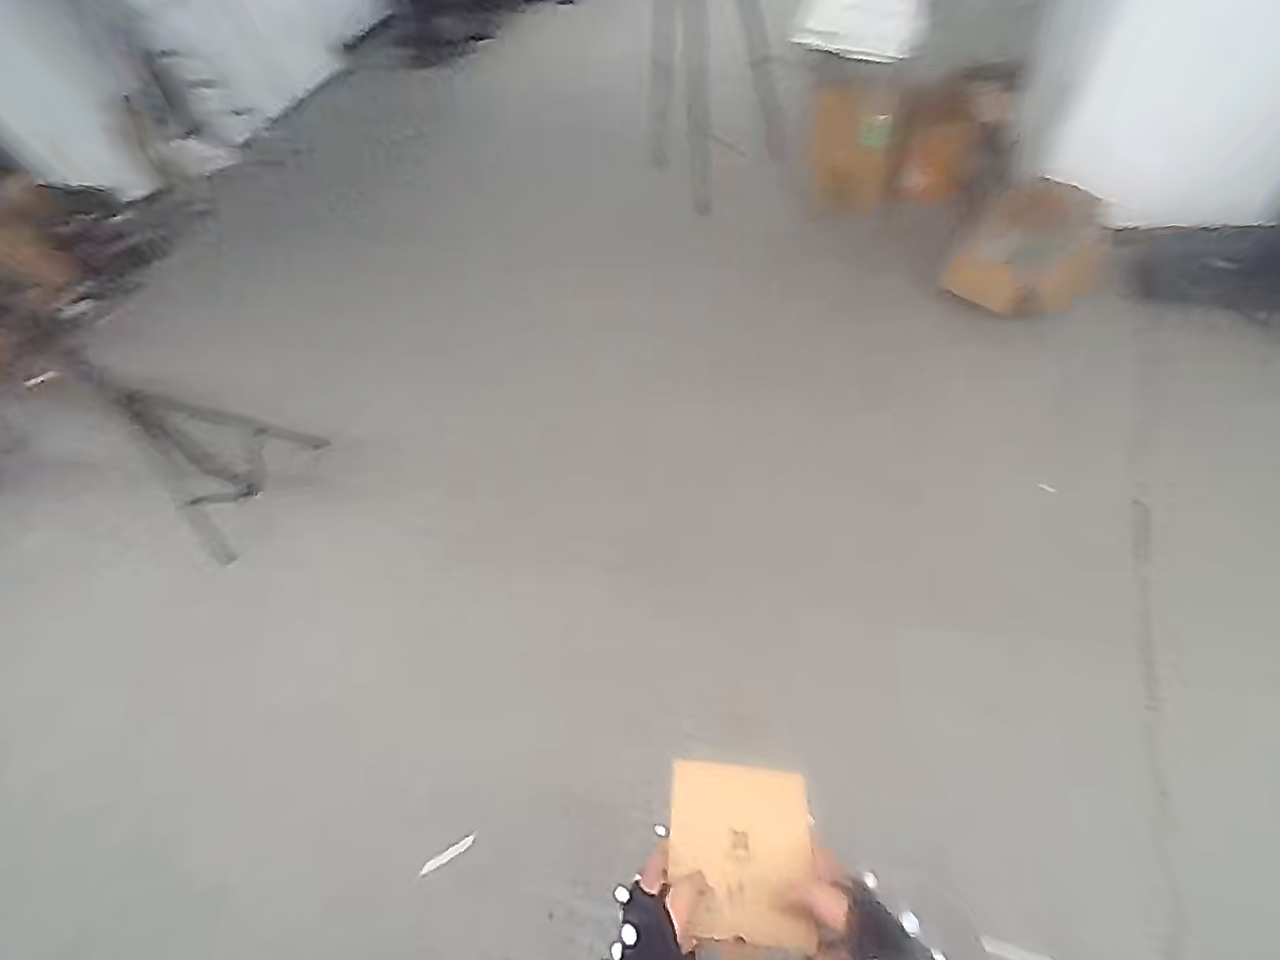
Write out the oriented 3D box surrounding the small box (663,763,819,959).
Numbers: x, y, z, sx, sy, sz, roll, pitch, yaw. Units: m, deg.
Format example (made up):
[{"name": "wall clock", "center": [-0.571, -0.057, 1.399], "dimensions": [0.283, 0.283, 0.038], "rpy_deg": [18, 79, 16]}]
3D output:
[{"name": "small box", "center": [0.119, 0.482, 0.691], "dimensions": [0.168, 0.176, 0.179], "rpy_deg": [4, 53, 4]}]
